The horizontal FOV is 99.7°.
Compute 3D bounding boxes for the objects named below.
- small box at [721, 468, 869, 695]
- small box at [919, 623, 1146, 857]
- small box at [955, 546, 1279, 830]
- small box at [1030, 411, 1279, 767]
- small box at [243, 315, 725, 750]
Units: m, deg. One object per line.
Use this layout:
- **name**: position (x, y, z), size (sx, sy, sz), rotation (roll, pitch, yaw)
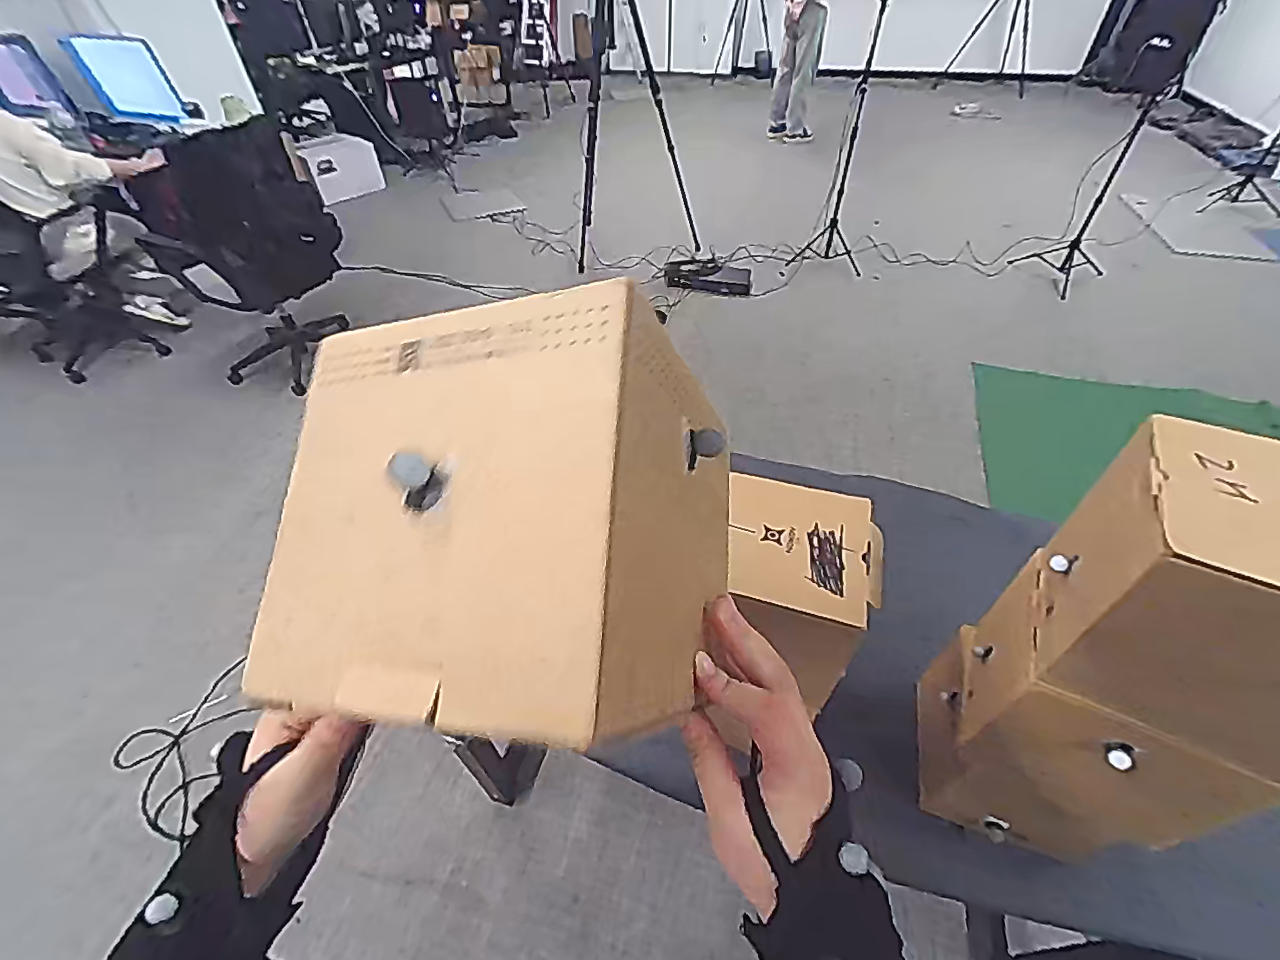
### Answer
- **small box**: position (0.141, 0.116, 0.607), size (0.179, 0.176, 0.168), rotation (12, 46, 14)
- **small box**: position (0.444, 0.306, 0.640), size (0.168, 0.176, 0.179), rotation (12, 47, 15)
- **small box**: position (0.435, 0.200, 0.517), size (0.179, 0.176, 0.168), rotation (20, 48, 22)
- **small box**: position (0.434, 0.081, 0.403), size (0.179, 0.176, 0.168), rotation (21, 48, 24)
- **small box**: position (-0.056, 0.027, 0.288), size (0.168, 0.179, 0.176), rotation (-3, 76, 23)
